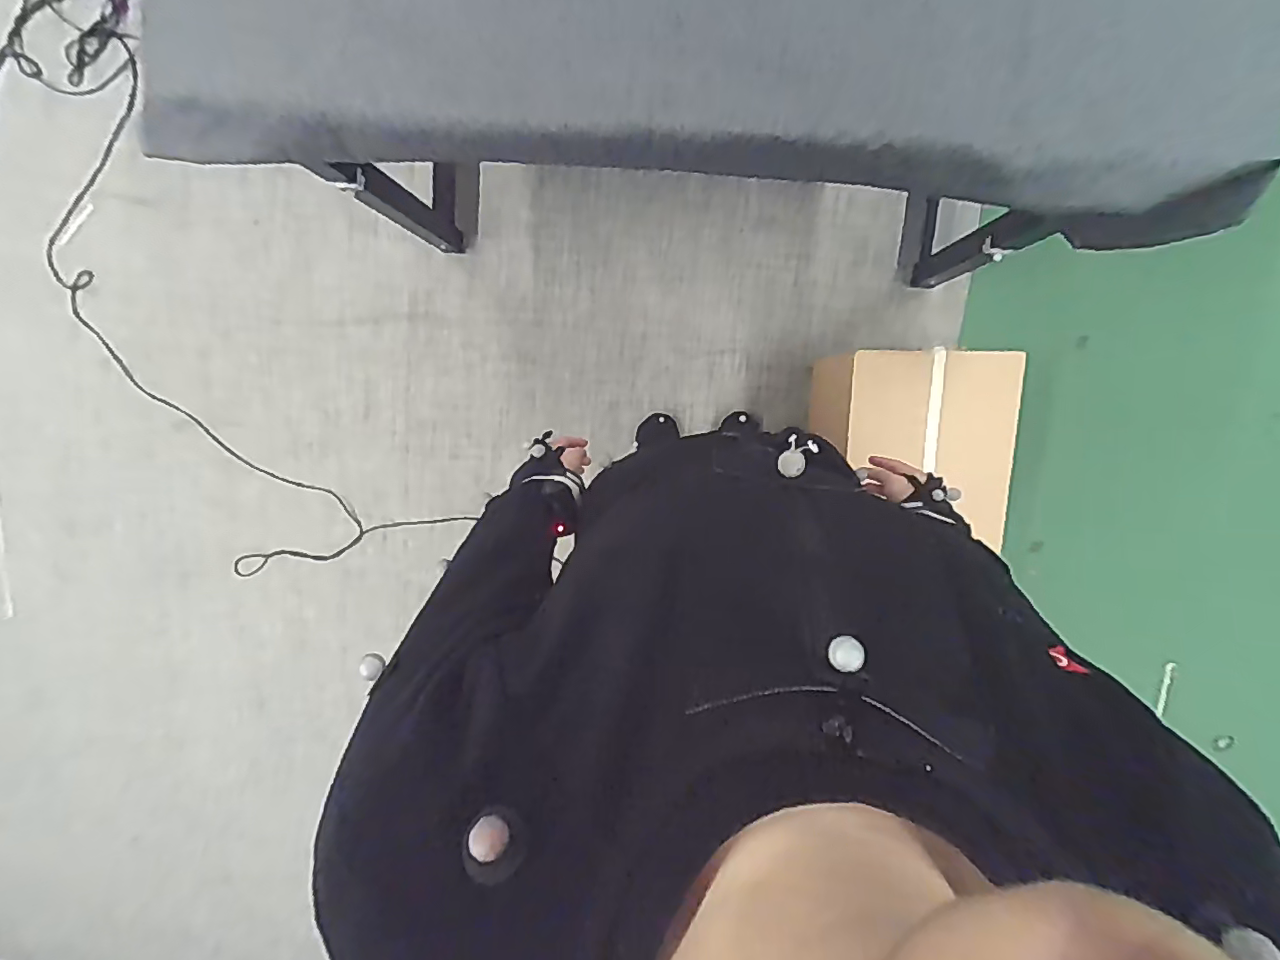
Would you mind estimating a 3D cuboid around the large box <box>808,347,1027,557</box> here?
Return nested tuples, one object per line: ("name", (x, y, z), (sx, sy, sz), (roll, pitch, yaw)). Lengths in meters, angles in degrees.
("large box", (0.564, -0.074, 1.172), (0.320, 0.320, 0.408), (2, 100, 4))
